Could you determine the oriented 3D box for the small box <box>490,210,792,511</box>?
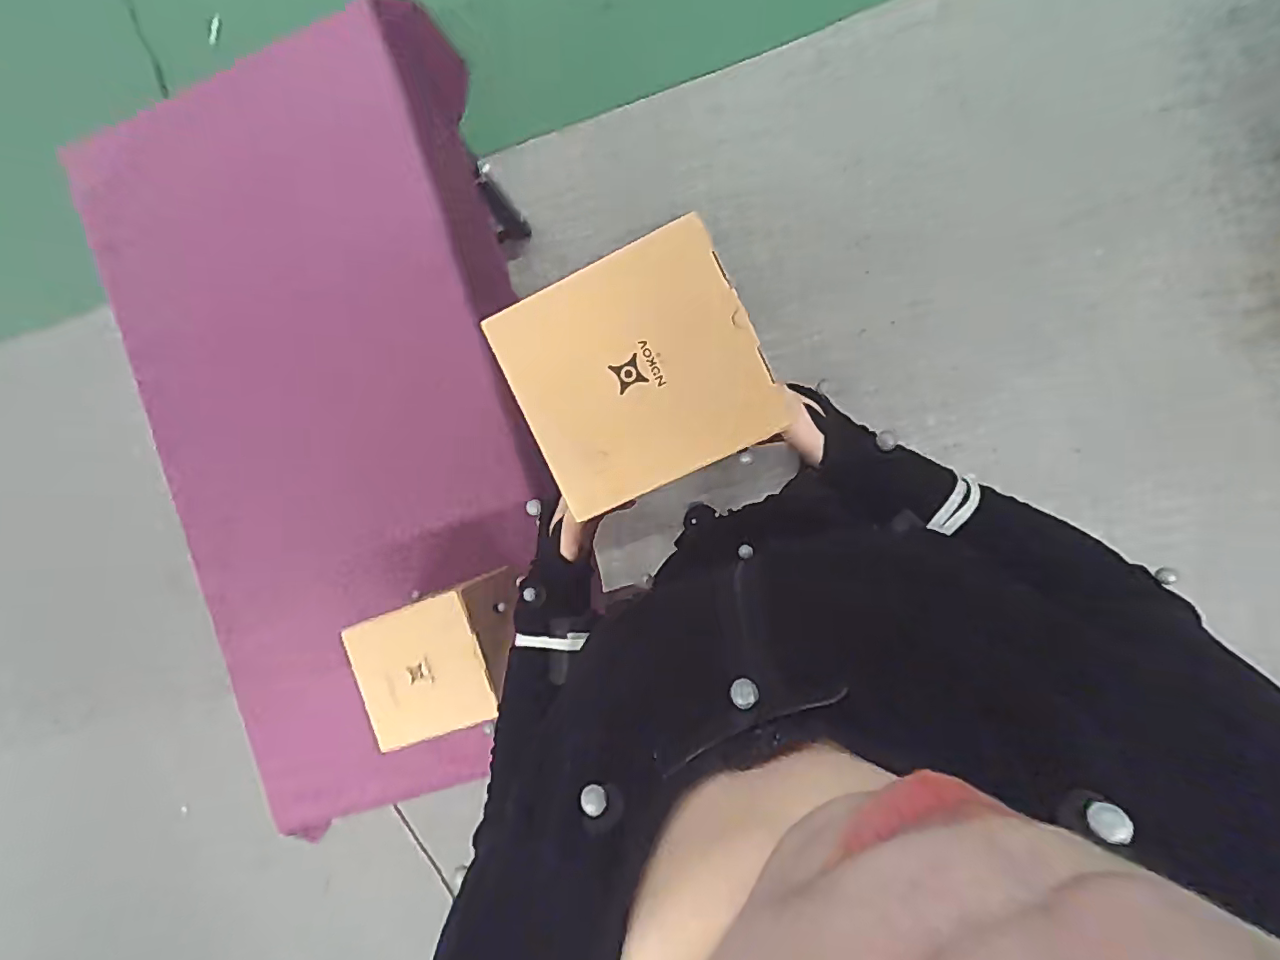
[{"bbox_3d":[0.006,-0.086,0.468,0.179,0.176,0.168,-24,91,5],"label":"small box"}]

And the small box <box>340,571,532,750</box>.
[{"bbox_3d":[-0.267,0.238,0.757,0.179,0.176,0.168,-20,87,9],"label":"small box"}]
